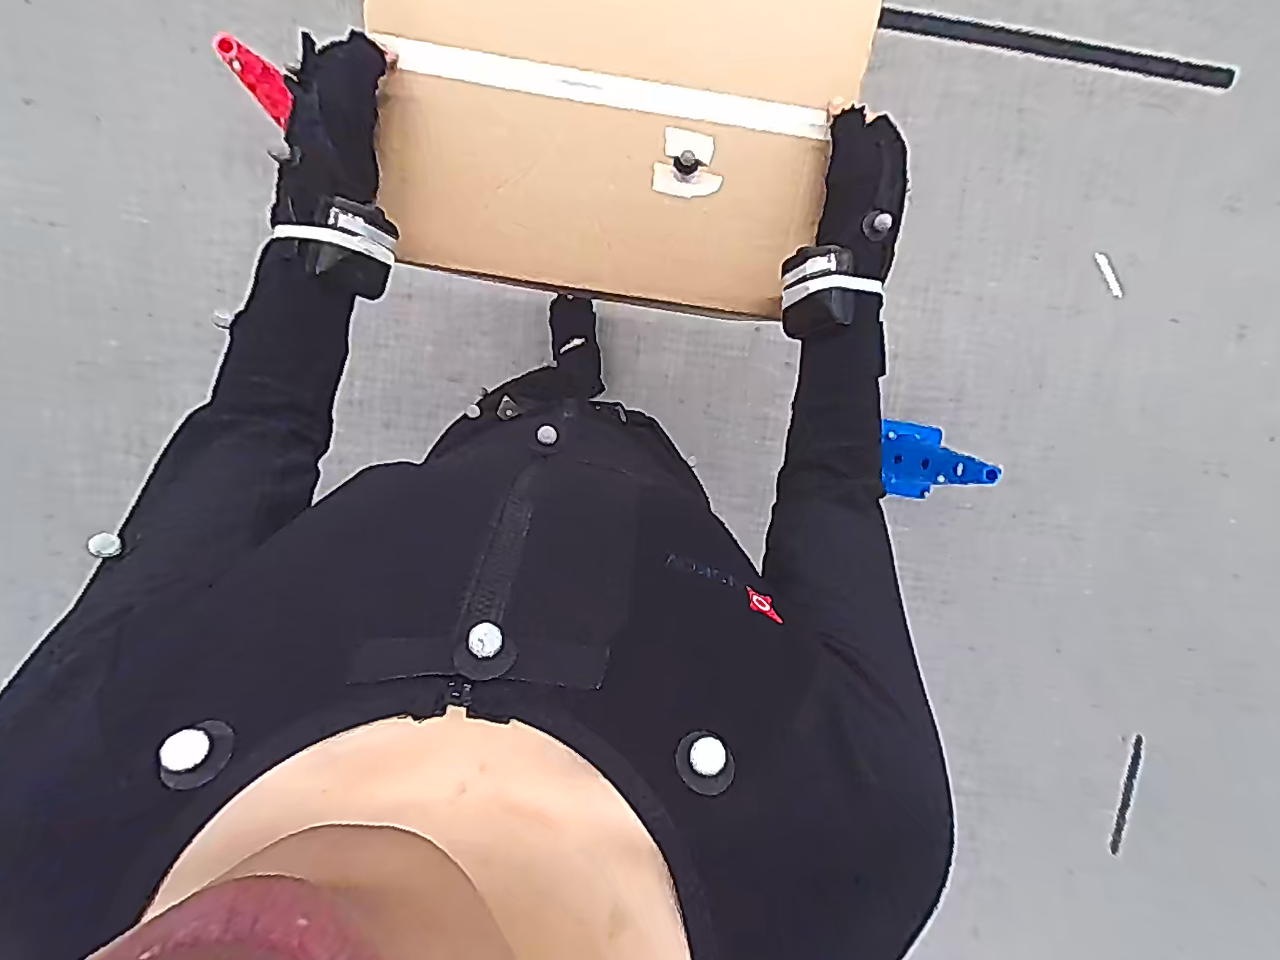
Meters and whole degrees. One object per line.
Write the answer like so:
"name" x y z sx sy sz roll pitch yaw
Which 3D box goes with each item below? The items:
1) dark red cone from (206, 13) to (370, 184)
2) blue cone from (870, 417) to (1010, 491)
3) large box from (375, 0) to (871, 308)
"dark red cone" -0.739 -0.800 1.115 0.201 0.394 0.202 13 97 -5
"blue cone" 0.739 -0.048 1.317 0.192 0.380 0.193 10 97 -5
"large box" -0.025 -0.376 0.594 0.408 0.320 0.320 7 107 -4
